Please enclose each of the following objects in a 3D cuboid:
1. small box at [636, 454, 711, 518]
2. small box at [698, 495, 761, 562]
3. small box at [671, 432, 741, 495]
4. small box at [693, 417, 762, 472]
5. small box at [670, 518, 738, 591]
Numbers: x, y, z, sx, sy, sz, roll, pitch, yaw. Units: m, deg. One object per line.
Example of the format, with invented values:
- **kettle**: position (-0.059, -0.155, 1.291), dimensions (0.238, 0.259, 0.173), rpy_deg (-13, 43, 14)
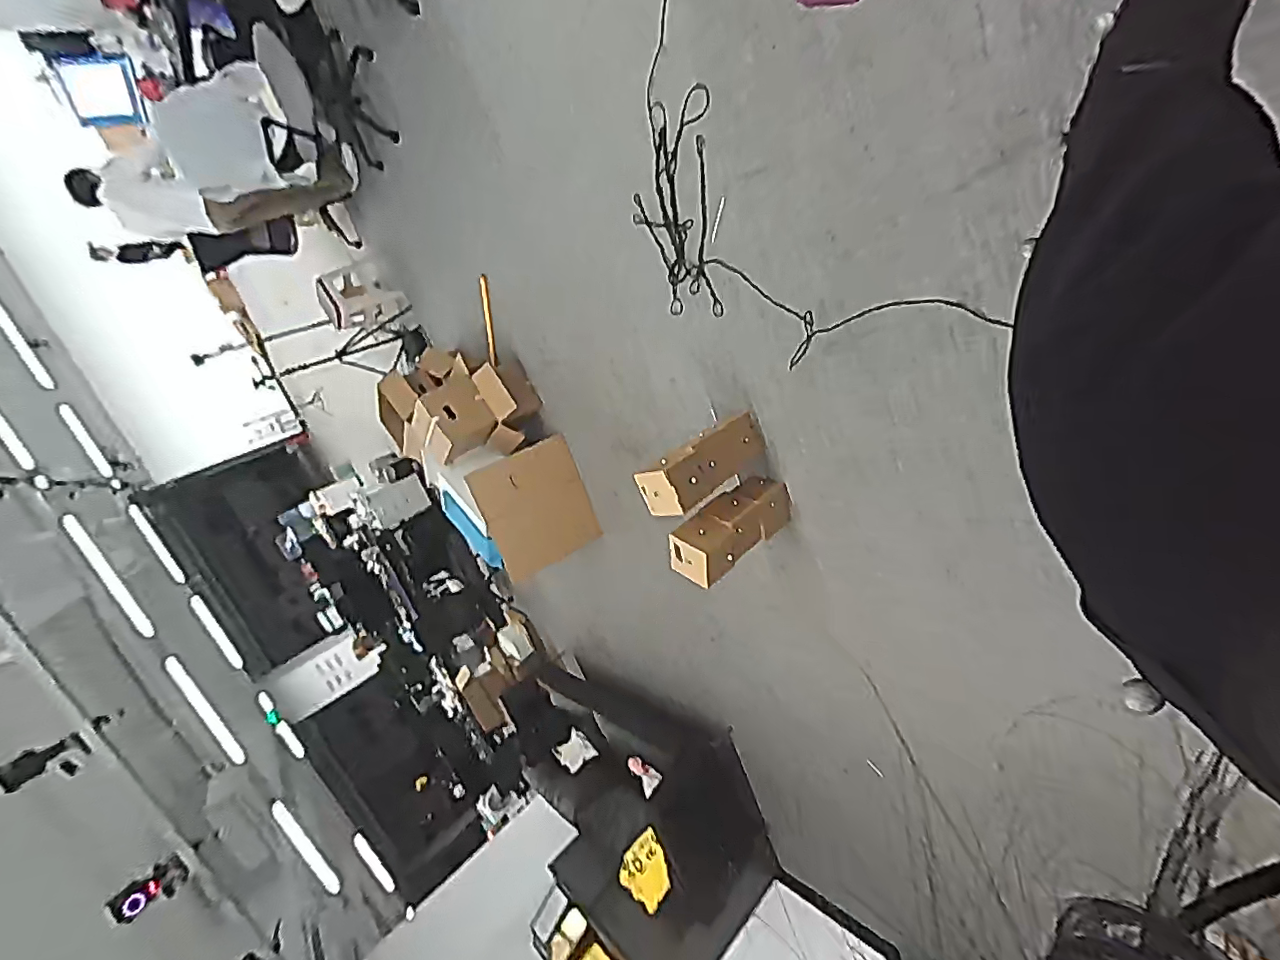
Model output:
- **small box**: position (0.123, 0.019, 1.873), dimensions (0.179, 0.176, 0.168), rpy_deg (-7, 110, 53)
- **small box**: position (0.341, 0.184, 2.023), dimensions (0.168, 0.176, 0.179), rpy_deg (22, 131, 44)
- **small box**: position (0.237, -0.050, 1.967), dimensions (0.168, 0.176, 0.179), rpy_deg (-20, 100, 56)
- **small box**: position (0.343, -0.127, 2.065), dimensions (0.179, 0.176, 0.168), rpy_deg (-12, 106, 56)
- **small box**: position (0.228, 0.257, 1.929), dimensions (0.179, 0.176, 0.168), rpy_deg (26, 134, 40)
